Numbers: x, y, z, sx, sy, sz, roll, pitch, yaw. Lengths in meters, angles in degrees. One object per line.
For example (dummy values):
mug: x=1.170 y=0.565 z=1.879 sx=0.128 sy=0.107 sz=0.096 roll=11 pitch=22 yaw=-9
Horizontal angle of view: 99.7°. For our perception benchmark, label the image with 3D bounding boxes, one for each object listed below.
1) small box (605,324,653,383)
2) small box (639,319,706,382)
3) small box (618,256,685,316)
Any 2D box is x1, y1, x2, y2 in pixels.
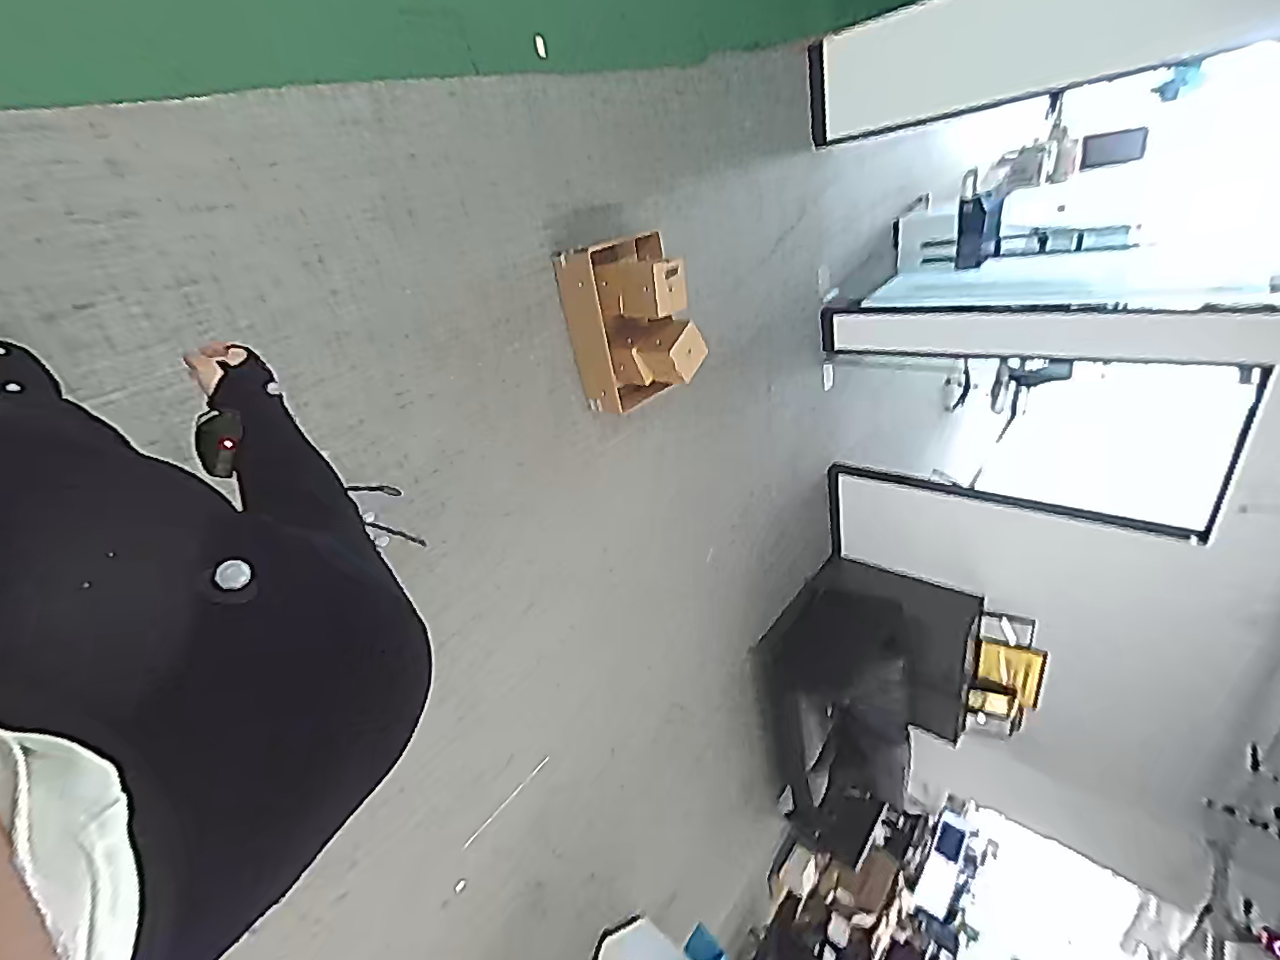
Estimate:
small box: x=-0.020 y=-0.507 z=2.162 sx=0.179 sy=0.176 sz=0.168 roll=-50 pitch=133 yaw=-26
small box: x=0.118 y=-0.496 z=2.070 sx=0.179 sy=0.176 sz=0.168 roll=-58 pitch=136 yaw=-19
small box: x=0.040 y=-0.688 z=1.922 sx=0.168 sy=0.176 sz=0.179 roll=-32 pitch=125 yaw=-39
